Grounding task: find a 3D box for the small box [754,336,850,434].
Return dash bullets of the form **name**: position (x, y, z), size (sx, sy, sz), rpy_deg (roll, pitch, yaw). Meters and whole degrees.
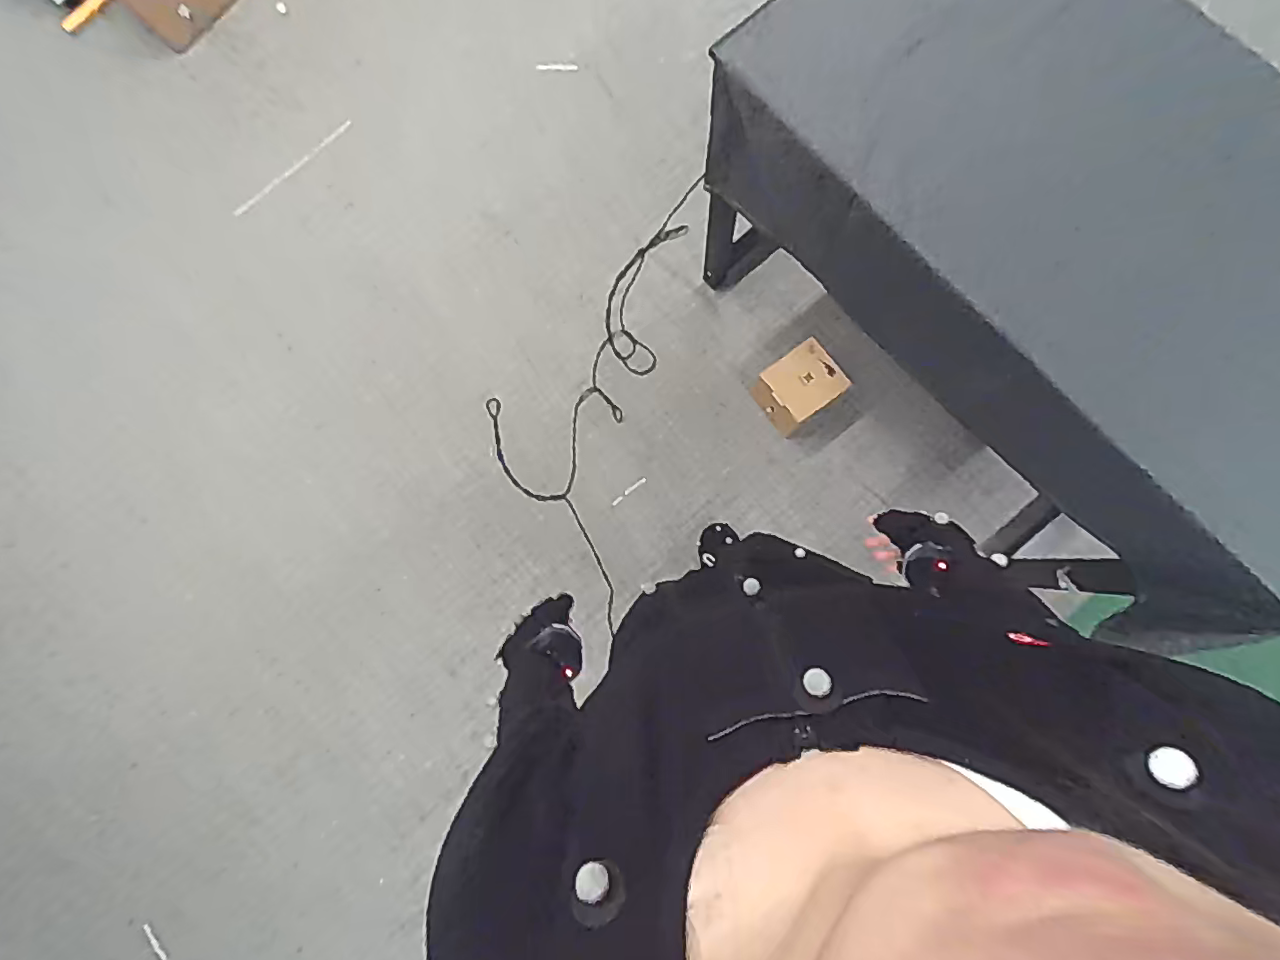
- **small box**: position (0.422, -0.245, 1.447), size (0.179, 0.176, 0.168), rpy_deg (-36, 80, -2)
